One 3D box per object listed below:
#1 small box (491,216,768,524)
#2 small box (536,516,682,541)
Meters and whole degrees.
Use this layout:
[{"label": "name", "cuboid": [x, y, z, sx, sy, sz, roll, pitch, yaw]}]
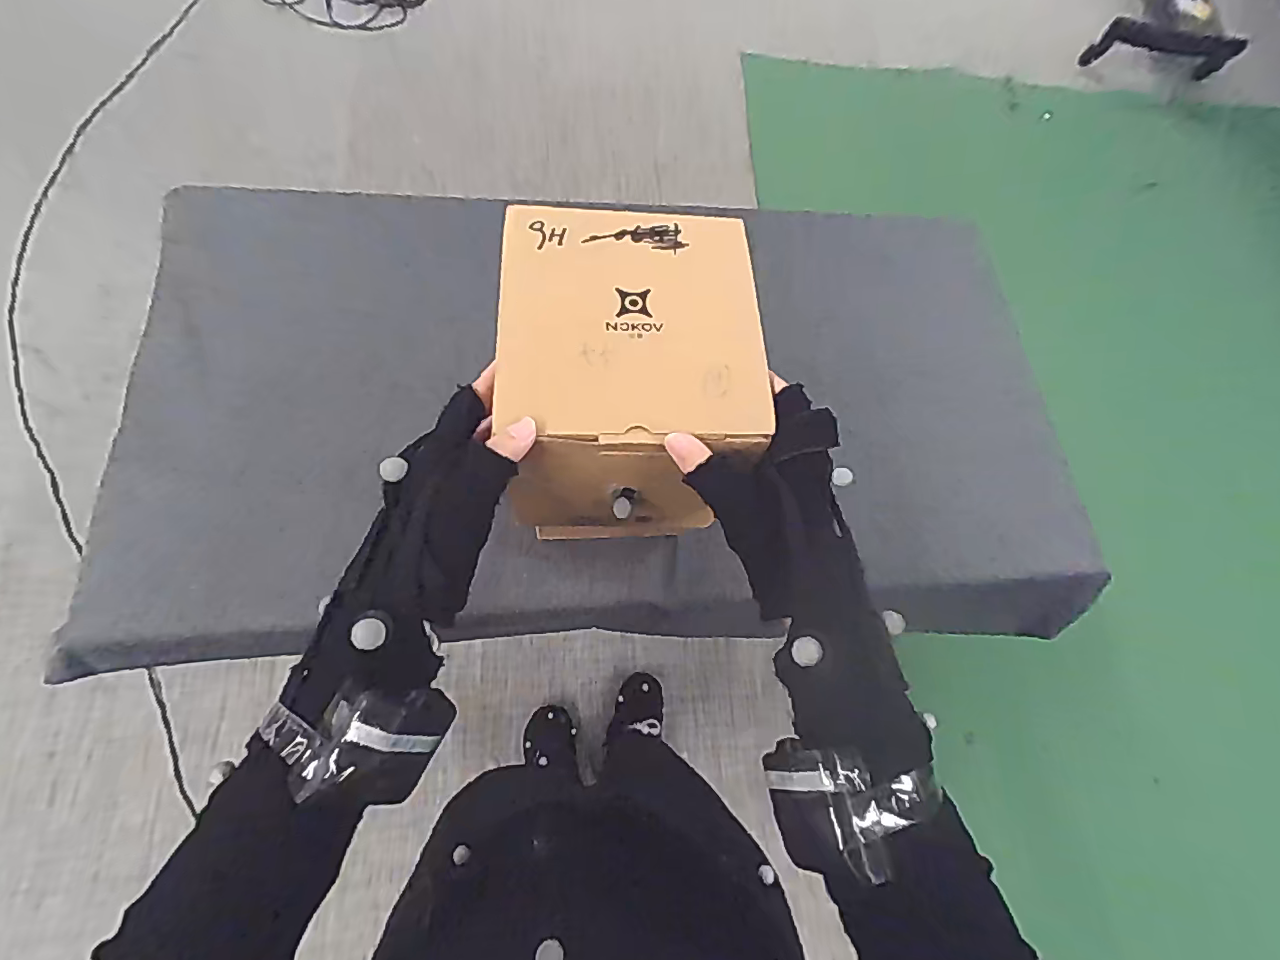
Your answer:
[{"label": "small box", "cuboid": [-0.015, -0.068, 0.417, 0.168, 0.176, 0.179, 0, 69, -7]}, {"label": "small box", "cuboid": [-0.030, -0.031, 0.603, 0.179, 0.176, 0.168, -1, 70, -9]}]
